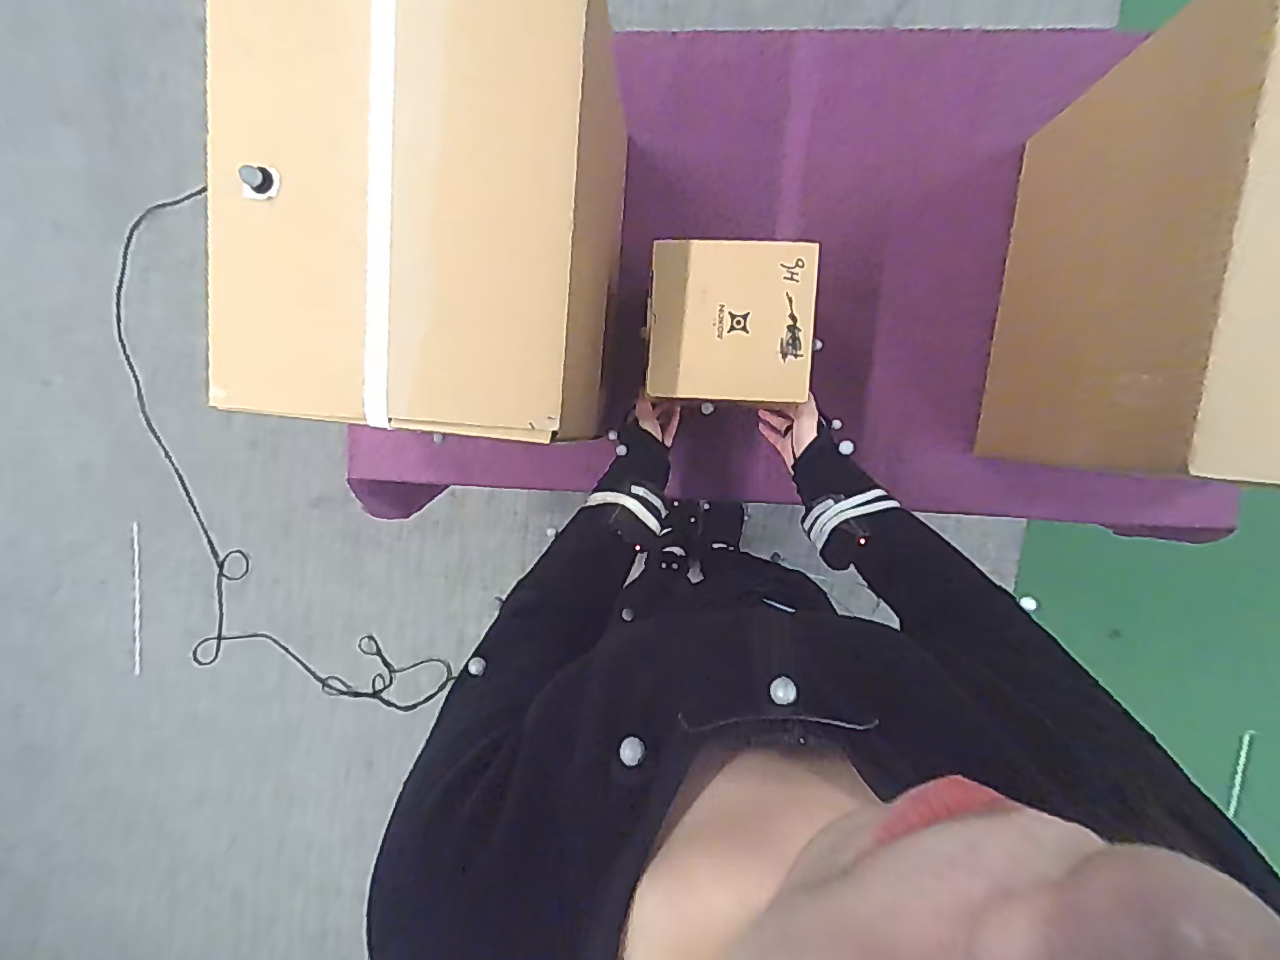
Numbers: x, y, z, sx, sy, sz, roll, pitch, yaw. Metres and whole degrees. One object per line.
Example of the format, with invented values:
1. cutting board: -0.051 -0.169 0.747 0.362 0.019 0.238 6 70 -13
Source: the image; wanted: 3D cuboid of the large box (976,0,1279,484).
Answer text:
1. large box: 0.605 -0.206 0.549 0.320 0.320 0.408 6 96 4
